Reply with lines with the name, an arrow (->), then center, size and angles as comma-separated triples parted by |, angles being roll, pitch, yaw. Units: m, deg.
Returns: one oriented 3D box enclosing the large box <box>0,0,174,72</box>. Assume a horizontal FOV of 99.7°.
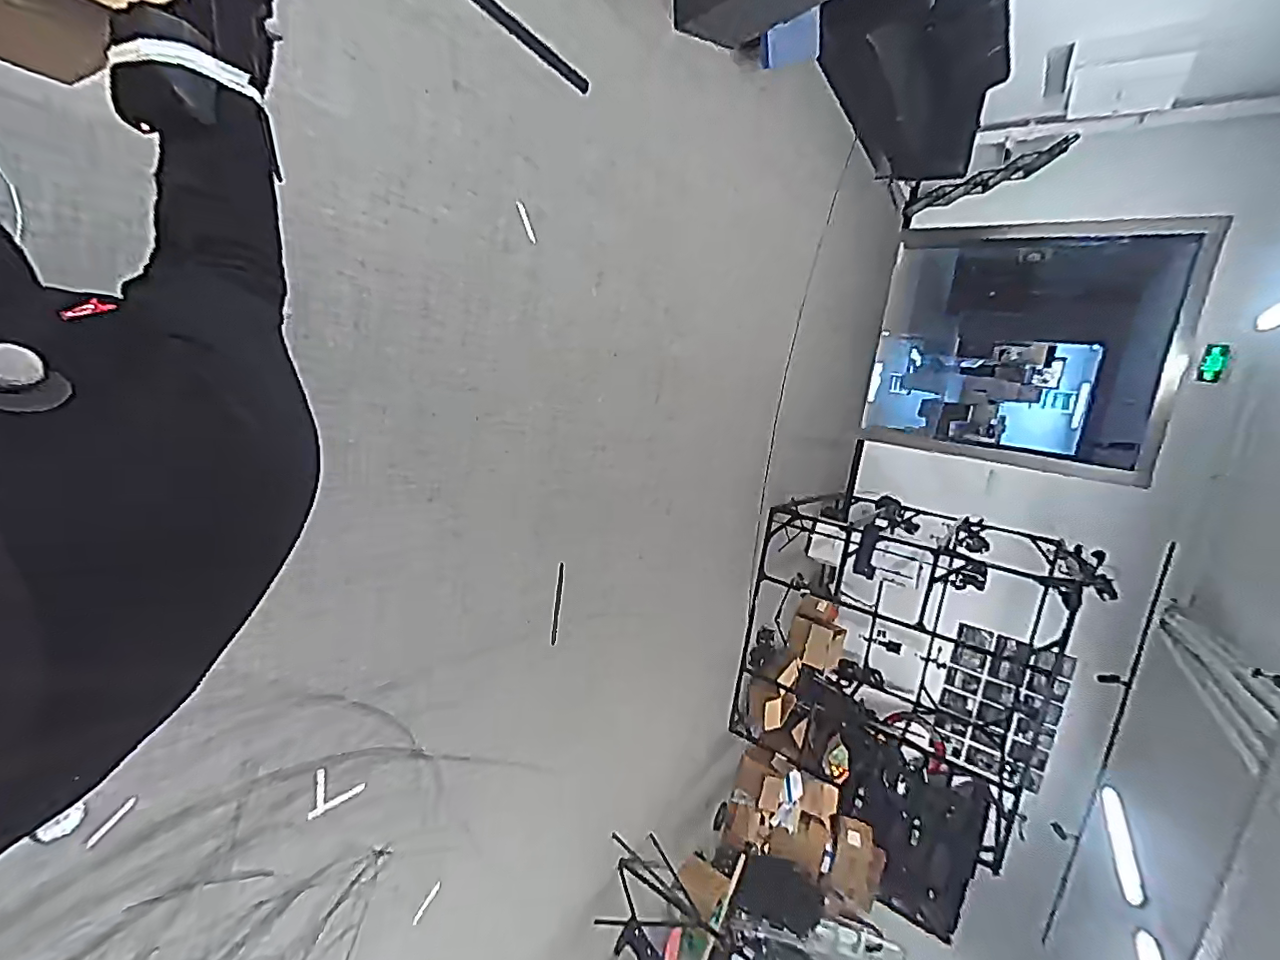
large box -> -0.541, -0.498, 0.274 | 0.408, 0.320, 0.320 | -5, 112, -56
